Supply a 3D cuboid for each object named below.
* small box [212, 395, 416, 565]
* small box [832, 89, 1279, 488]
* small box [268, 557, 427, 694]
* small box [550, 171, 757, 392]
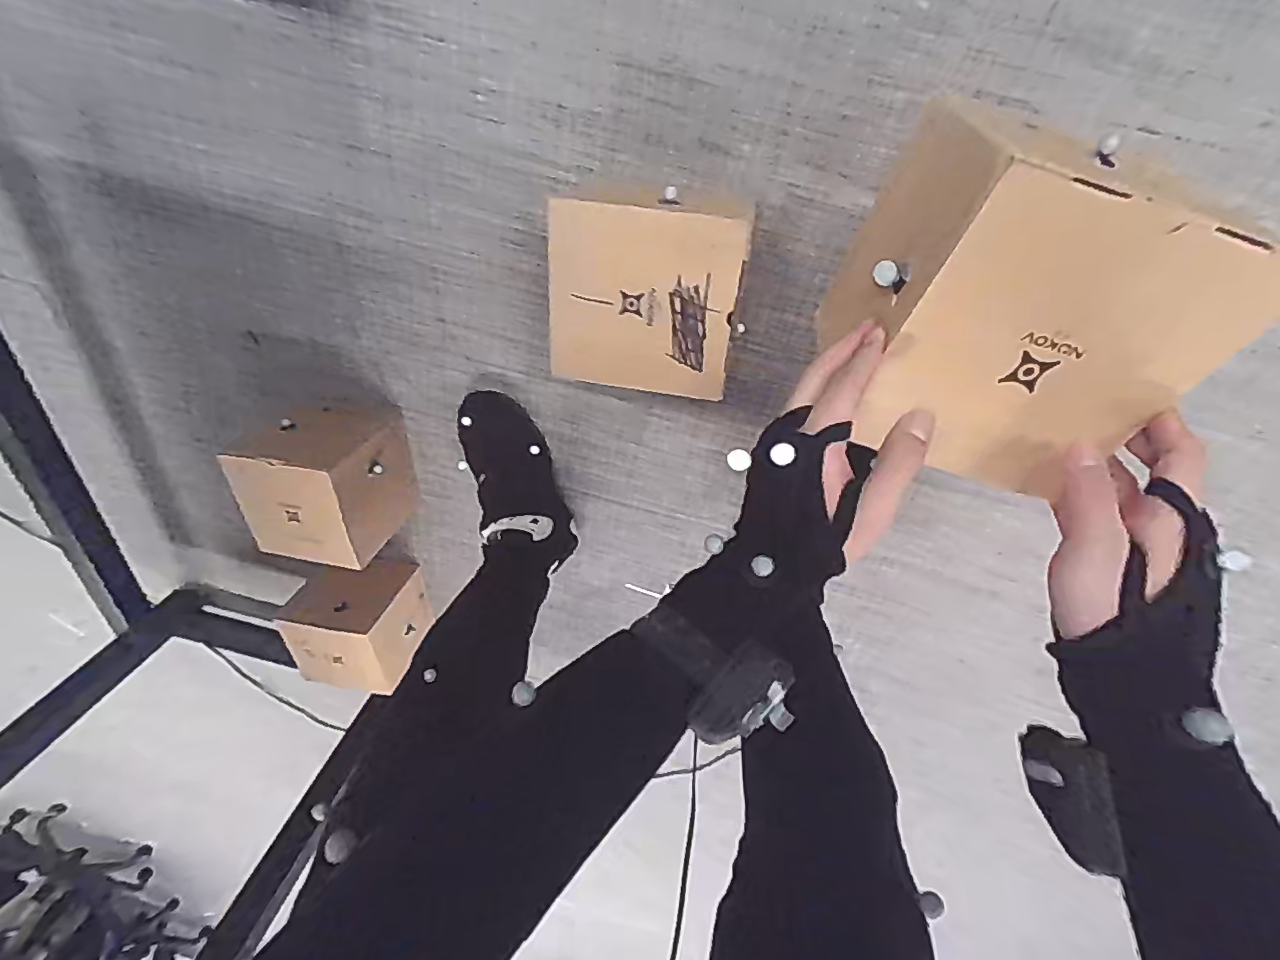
[{"bbox_3d":[-0.455,-0.006,0.789,0.168,0.176,0.179,9,125,7],"label":"small box"},{"bbox_3d":[0.247,-0.130,0.368,0.168,0.176,0.179,17,133,-4],"label":"small box"},{"bbox_3d":[-0.504,0.251,0.970,0.179,0.176,0.168,8,124,7],"label":"small box"},{"bbox_3d":[0.017,-0.209,0.552,0.179,0.176,0.168,10,125,6],"label":"small box"}]
